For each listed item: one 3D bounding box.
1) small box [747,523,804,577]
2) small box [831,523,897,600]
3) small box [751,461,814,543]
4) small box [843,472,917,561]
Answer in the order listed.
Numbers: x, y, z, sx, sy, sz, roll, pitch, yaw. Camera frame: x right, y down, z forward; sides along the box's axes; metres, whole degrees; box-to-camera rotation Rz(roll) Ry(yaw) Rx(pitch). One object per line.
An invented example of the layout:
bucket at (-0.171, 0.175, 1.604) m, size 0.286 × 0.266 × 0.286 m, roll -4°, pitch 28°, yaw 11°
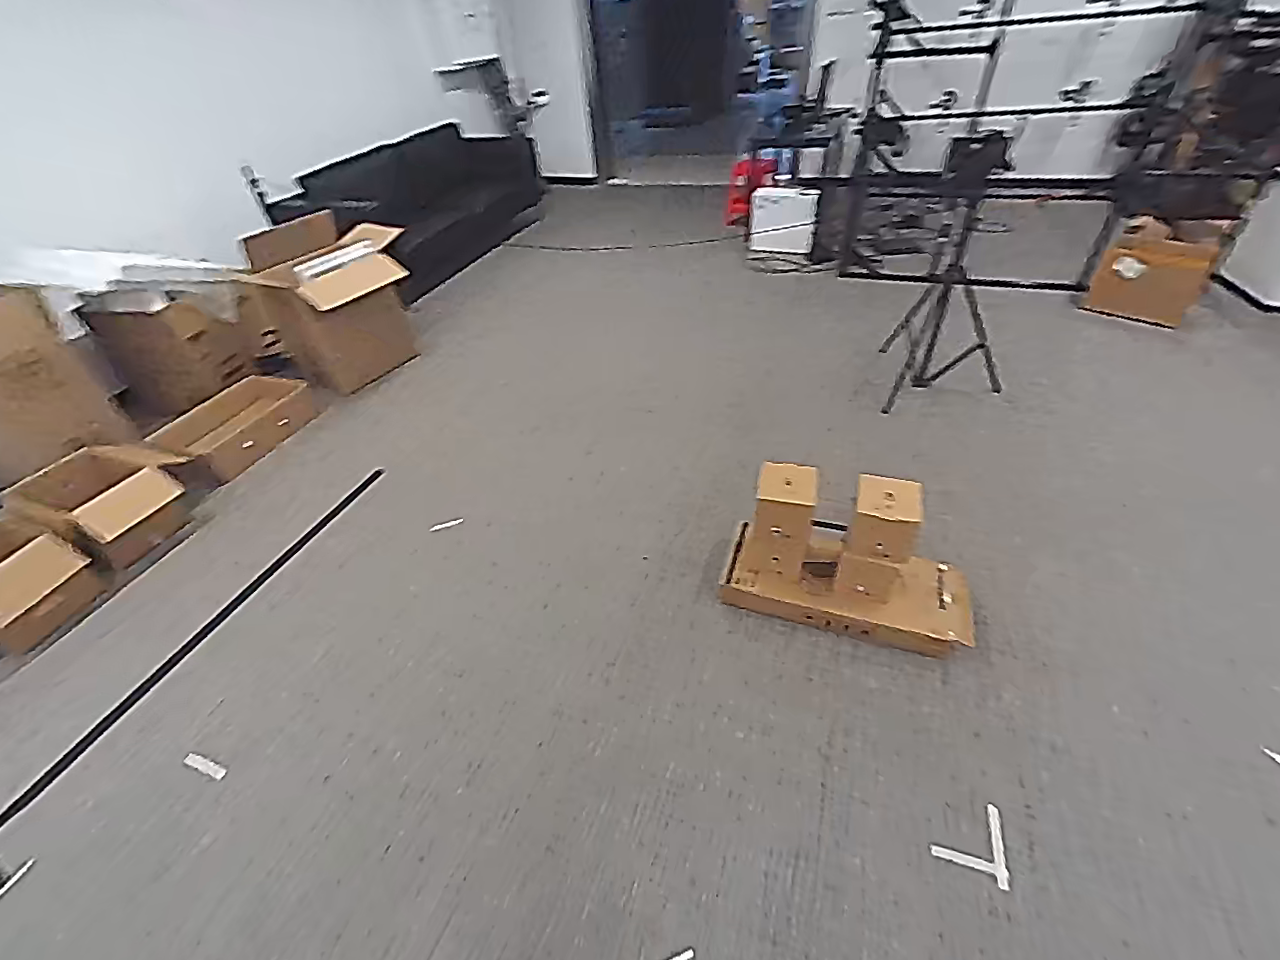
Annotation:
small box at (0.447, 0.190, 1.760) m, size 0.168 × 0.176 × 0.179 m, roll 12°, pitch 45°, yaw 18°
small box at (0.699, 0.239, 1.678) m, size 0.168 × 0.176 × 0.179 m, roll 13°, pitch 44°, yaw 21°
small box at (0.433, 0.066, 1.653) m, size 0.168 × 0.176 × 0.179 m, roll 6°, pitch 43°, yaw 14°
small box at (0.697, 0.106, 1.578) m, size 0.168 × 0.176 × 0.179 m, roll 10°, pitch 43°, yaw 17°
